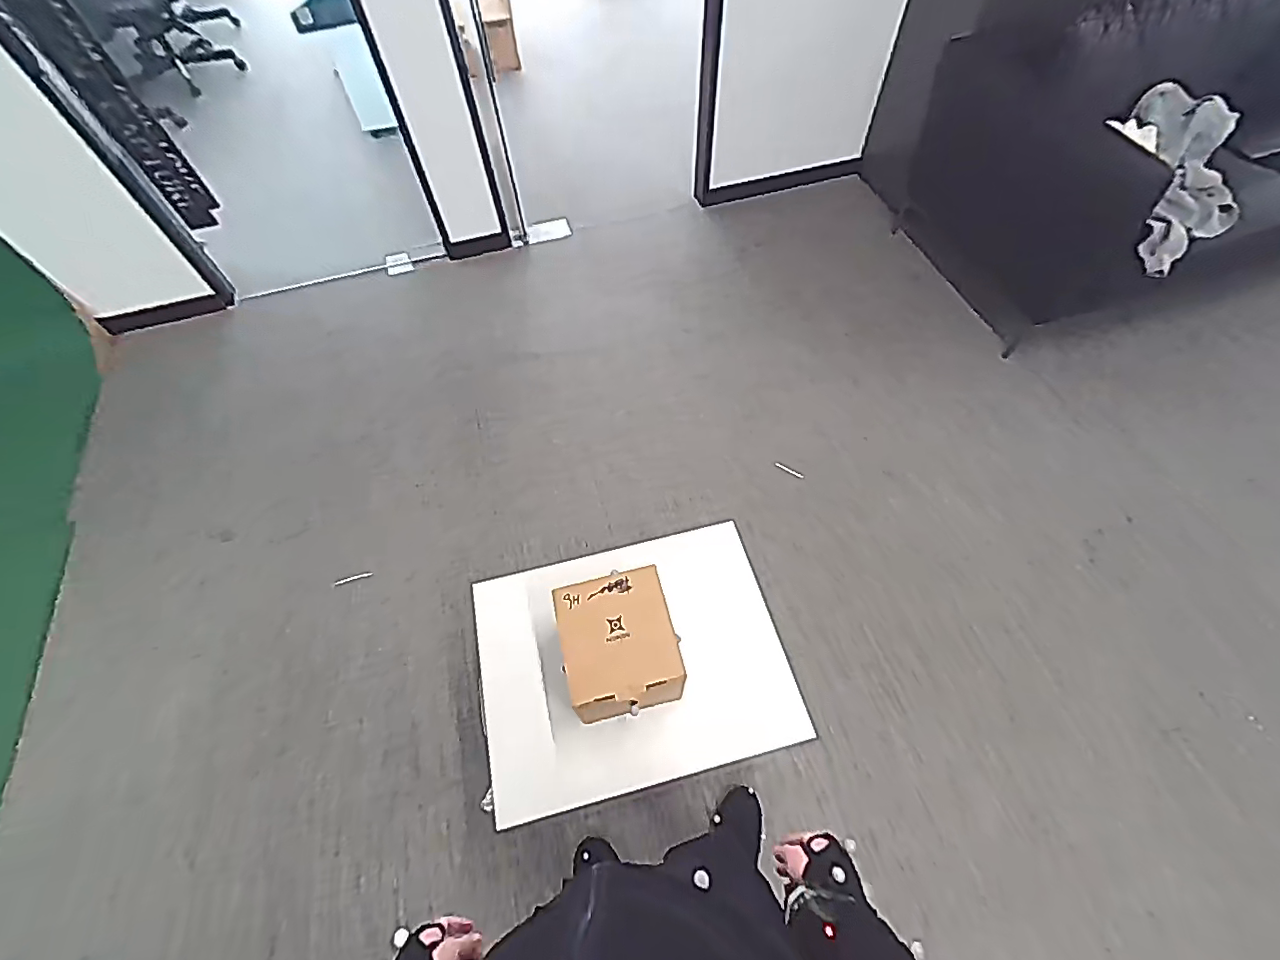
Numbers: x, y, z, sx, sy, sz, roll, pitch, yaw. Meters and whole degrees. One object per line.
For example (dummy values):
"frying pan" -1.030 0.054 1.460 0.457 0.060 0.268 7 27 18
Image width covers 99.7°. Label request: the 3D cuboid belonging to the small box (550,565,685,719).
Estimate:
"small box" -0.033 0.264 0.856 0.168 0.176 0.179 -15 59 -7
